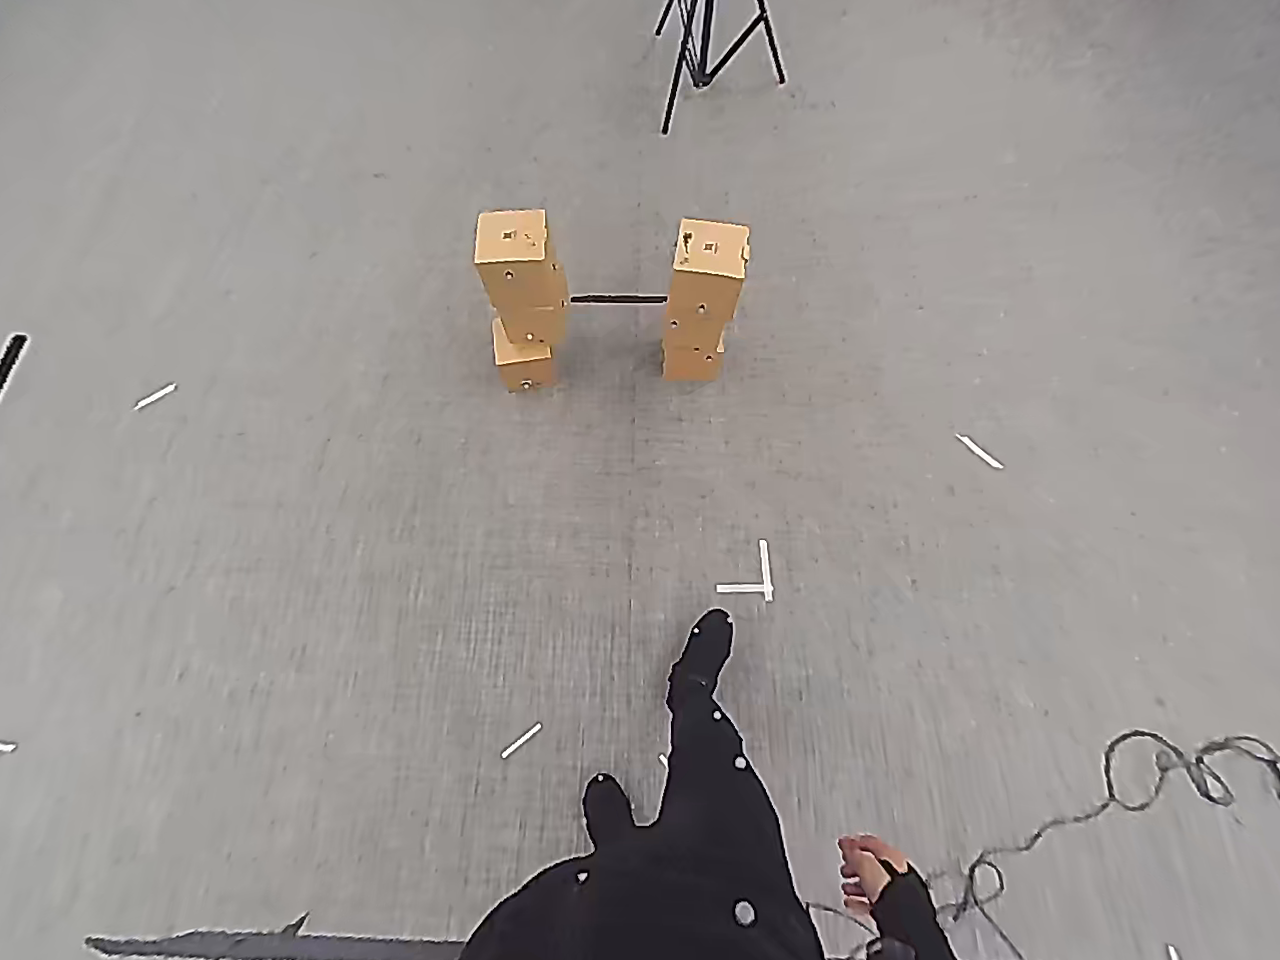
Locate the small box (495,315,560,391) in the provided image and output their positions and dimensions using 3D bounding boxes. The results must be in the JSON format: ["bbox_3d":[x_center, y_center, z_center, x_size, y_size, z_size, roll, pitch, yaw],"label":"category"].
[{"bbox_3d":[-0.350,-0.402,1.693,0.168,0.176,0.179,-9,70,-3],"label":"small box"}]

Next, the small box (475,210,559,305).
[{"bbox_3d":[-0.312,-0.573,1.408,0.179,0.176,0.168,-2,69,0],"label":"small box"}]

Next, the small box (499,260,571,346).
[{"bbox_3d":[-0.296,-0.513,1.561,0.168,0.176,0.179,5,69,3],"label":"small box"}]

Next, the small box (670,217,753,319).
[{"bbox_3d":[0.179,-0.541,1.396,0.179,0.176,0.168,9,69,1],"label":"small box"}]

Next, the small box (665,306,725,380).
[{"bbox_3d":[0.170,-0.430,1.705,0.179,0.176,0.168,2,69,0],"label":"small box"}]
